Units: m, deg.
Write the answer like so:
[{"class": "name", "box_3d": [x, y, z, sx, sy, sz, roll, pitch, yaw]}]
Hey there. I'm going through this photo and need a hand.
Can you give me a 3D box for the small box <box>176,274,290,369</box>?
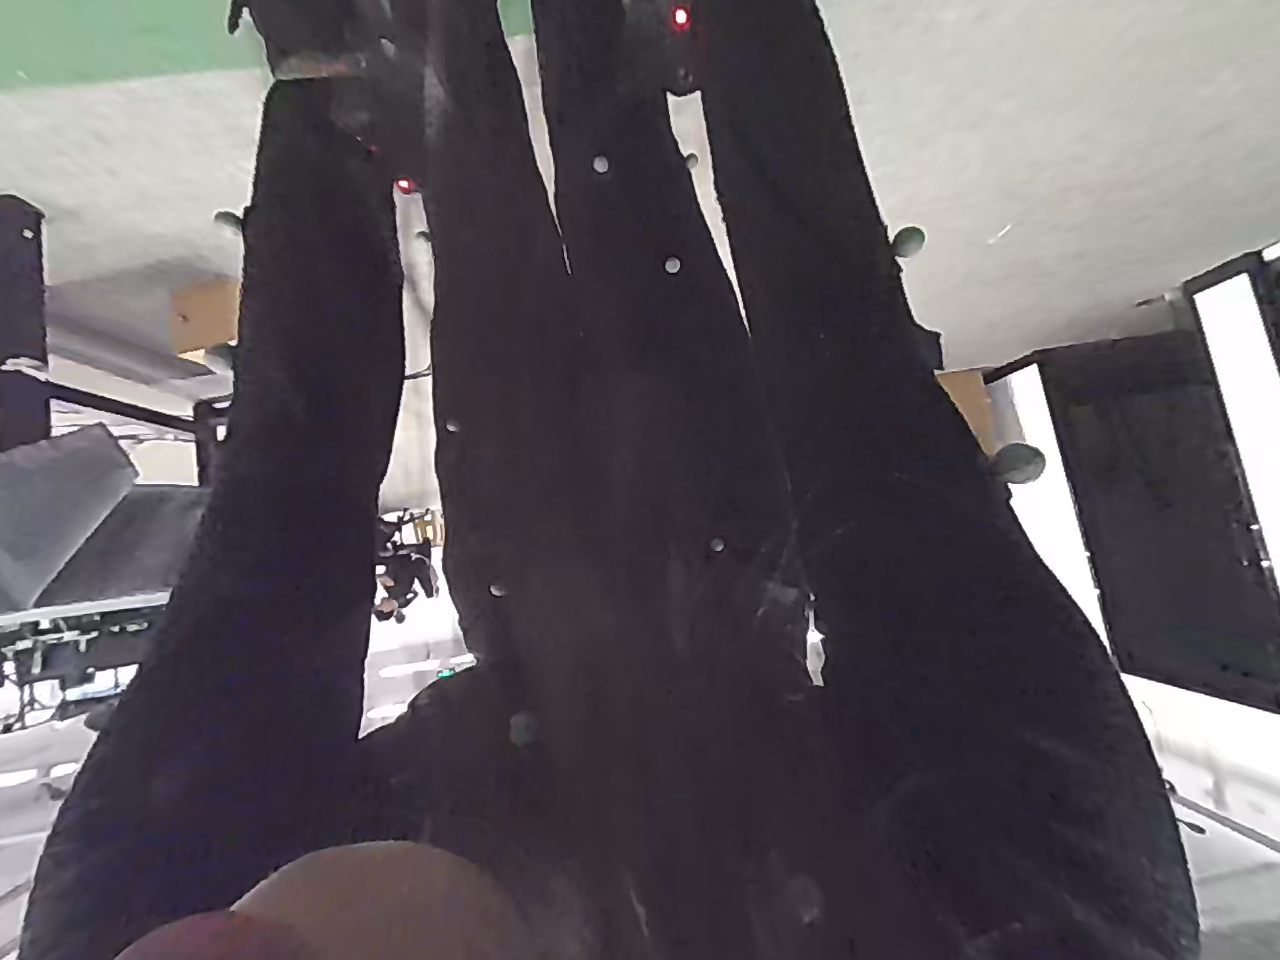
[{"class": "small box", "box_3d": [-1.030, -0.398, 1.373, 0.179, 0.176, 0.168, -9, 175, 10]}]
